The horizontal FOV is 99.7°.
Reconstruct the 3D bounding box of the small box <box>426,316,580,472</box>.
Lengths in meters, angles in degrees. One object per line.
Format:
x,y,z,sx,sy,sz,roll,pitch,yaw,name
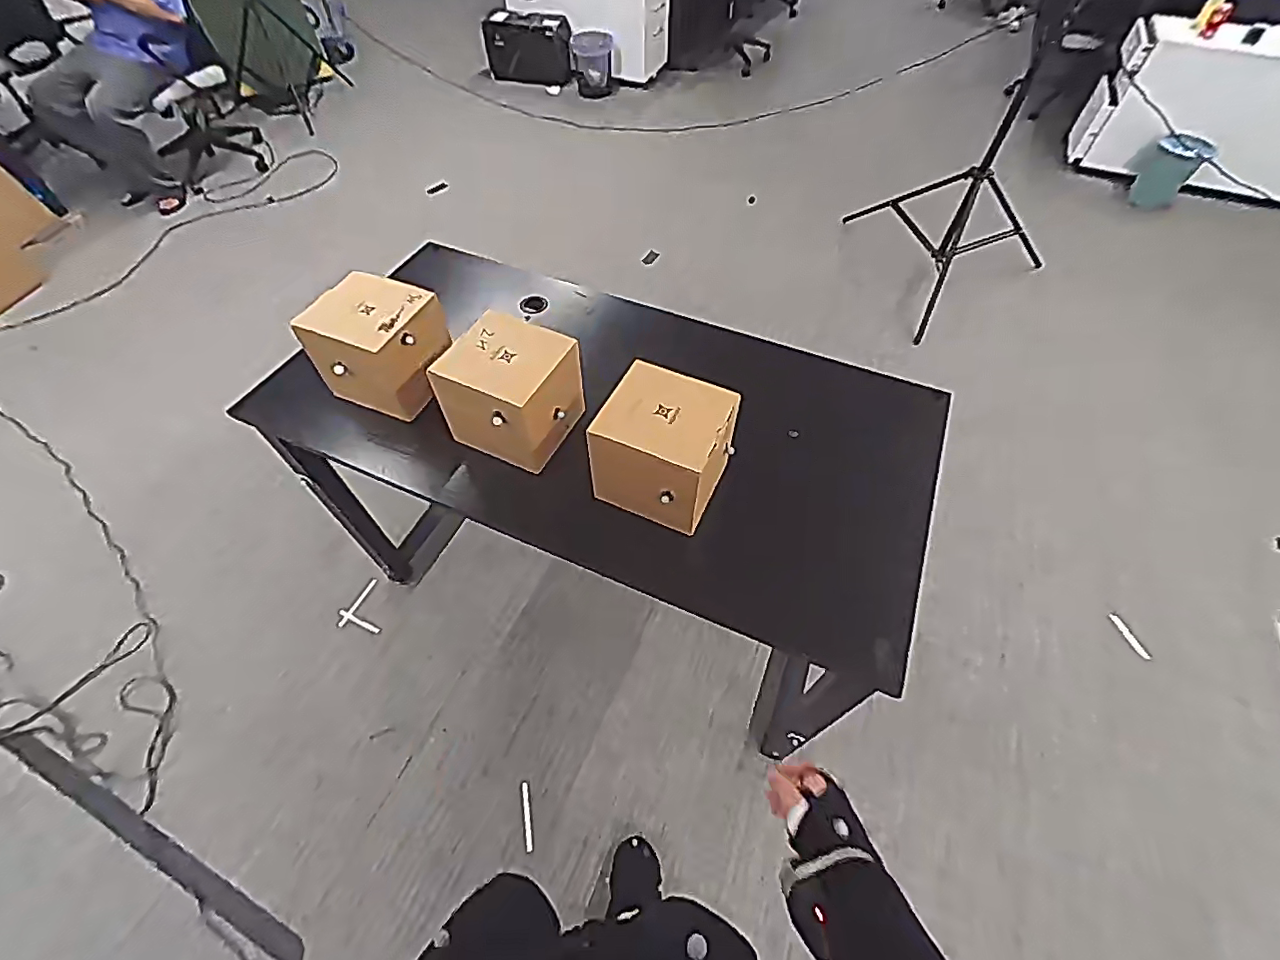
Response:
-0.215,-0.138,0.908,0.179,0.176,0.168,21,57,15,small box

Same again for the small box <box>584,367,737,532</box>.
0.033,-0.041,0.843,0.179,0.176,0.168,20,56,15,small box

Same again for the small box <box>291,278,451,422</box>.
-0.464,-0.230,0.972,0.179,0.176,0.168,18,57,13,small box
